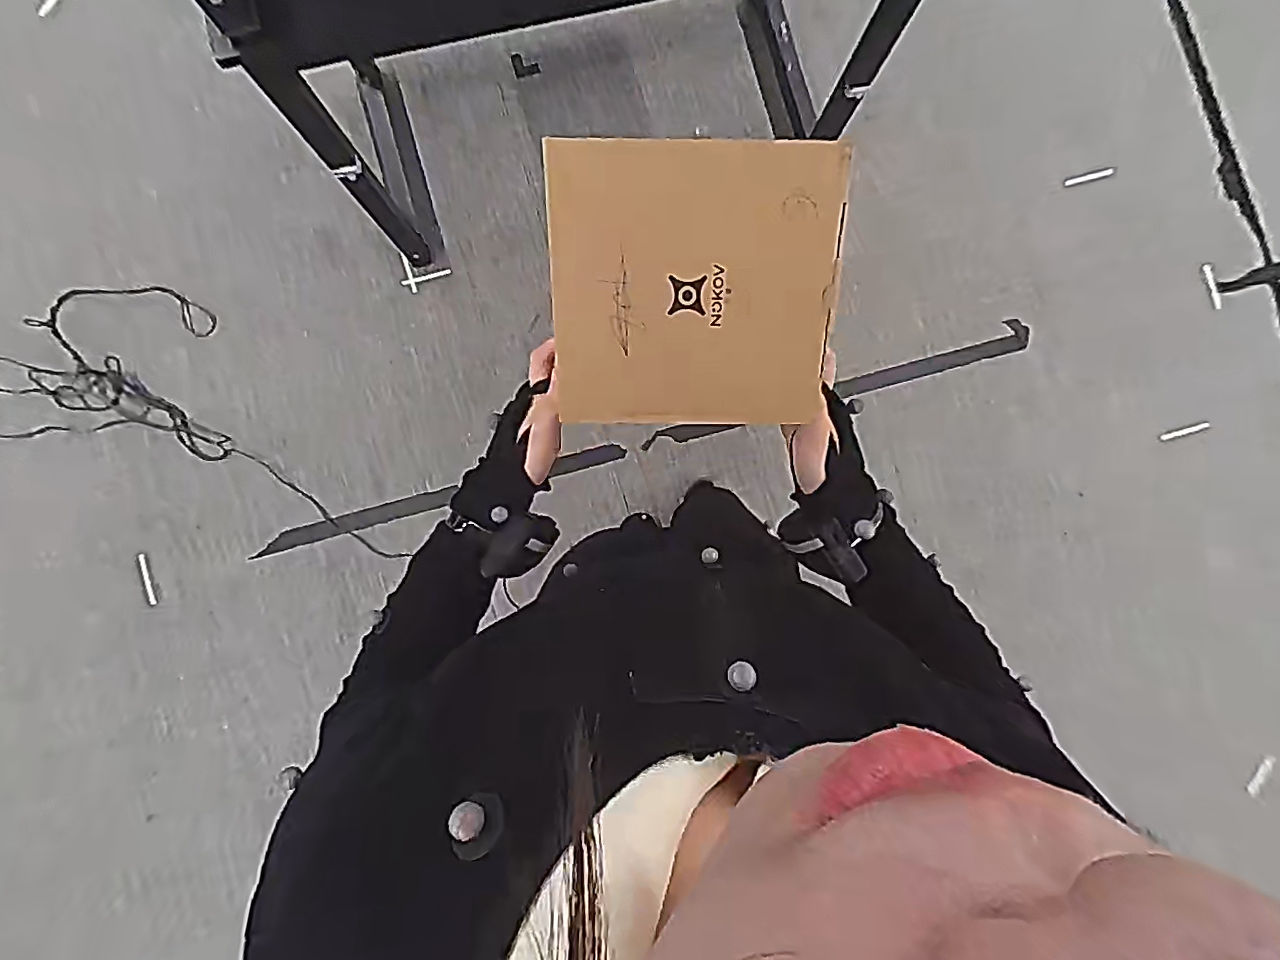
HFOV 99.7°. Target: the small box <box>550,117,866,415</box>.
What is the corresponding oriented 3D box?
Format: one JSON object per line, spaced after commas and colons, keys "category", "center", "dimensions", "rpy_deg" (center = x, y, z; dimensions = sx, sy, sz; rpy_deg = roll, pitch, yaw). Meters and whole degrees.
{"category": "small box", "center": [0.035, -0.150, 0.396], "dimensions": [0.179, 0.176, 0.168], "rpy_deg": [1, 113, 0]}
